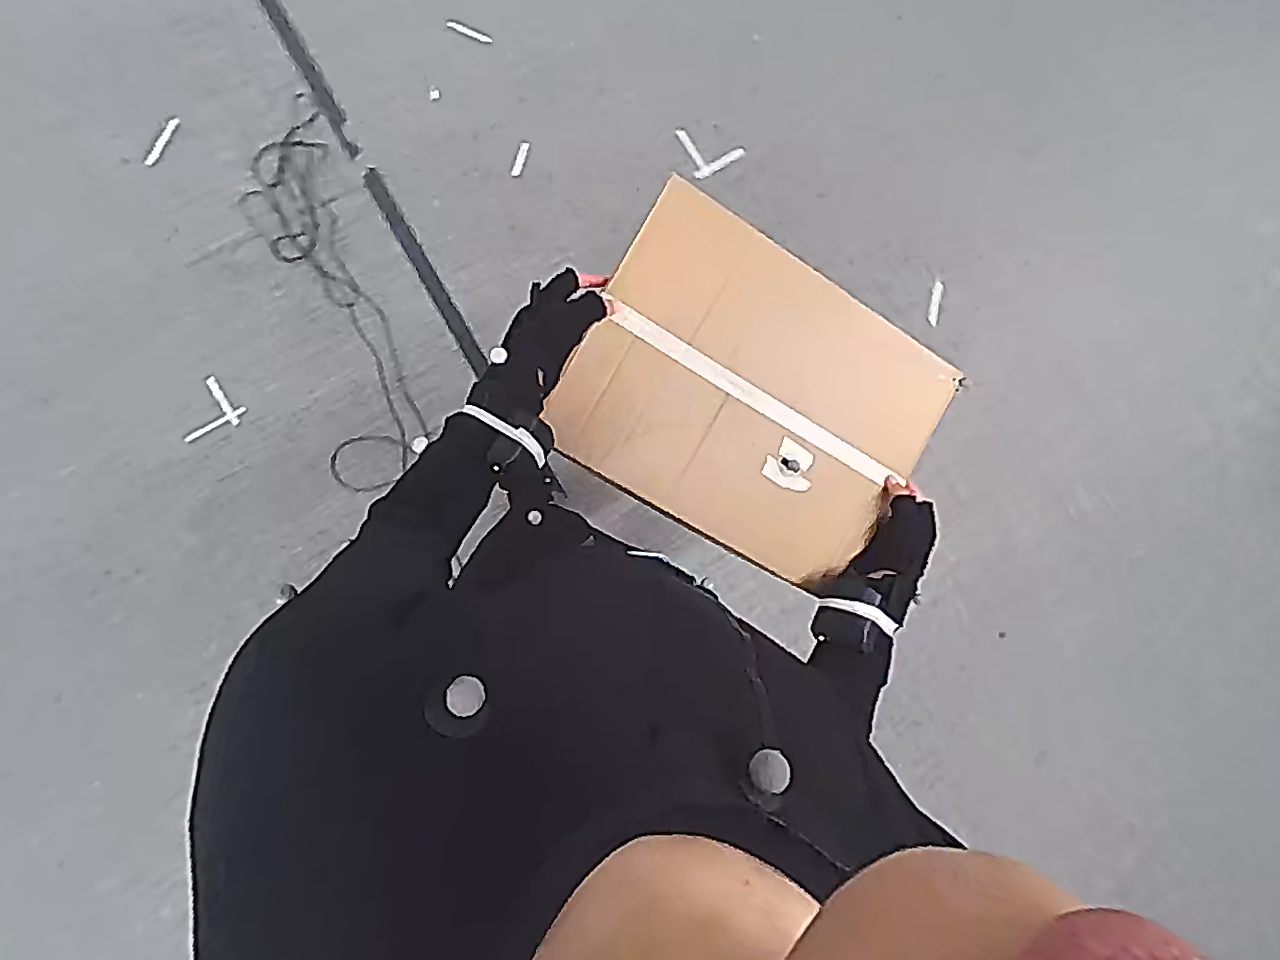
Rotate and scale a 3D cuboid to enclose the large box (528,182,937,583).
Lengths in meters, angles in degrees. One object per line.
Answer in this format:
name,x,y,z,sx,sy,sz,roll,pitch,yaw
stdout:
large box,0.091,-0.108,0.756,0.408,0.320,0.320,29,89,-11
